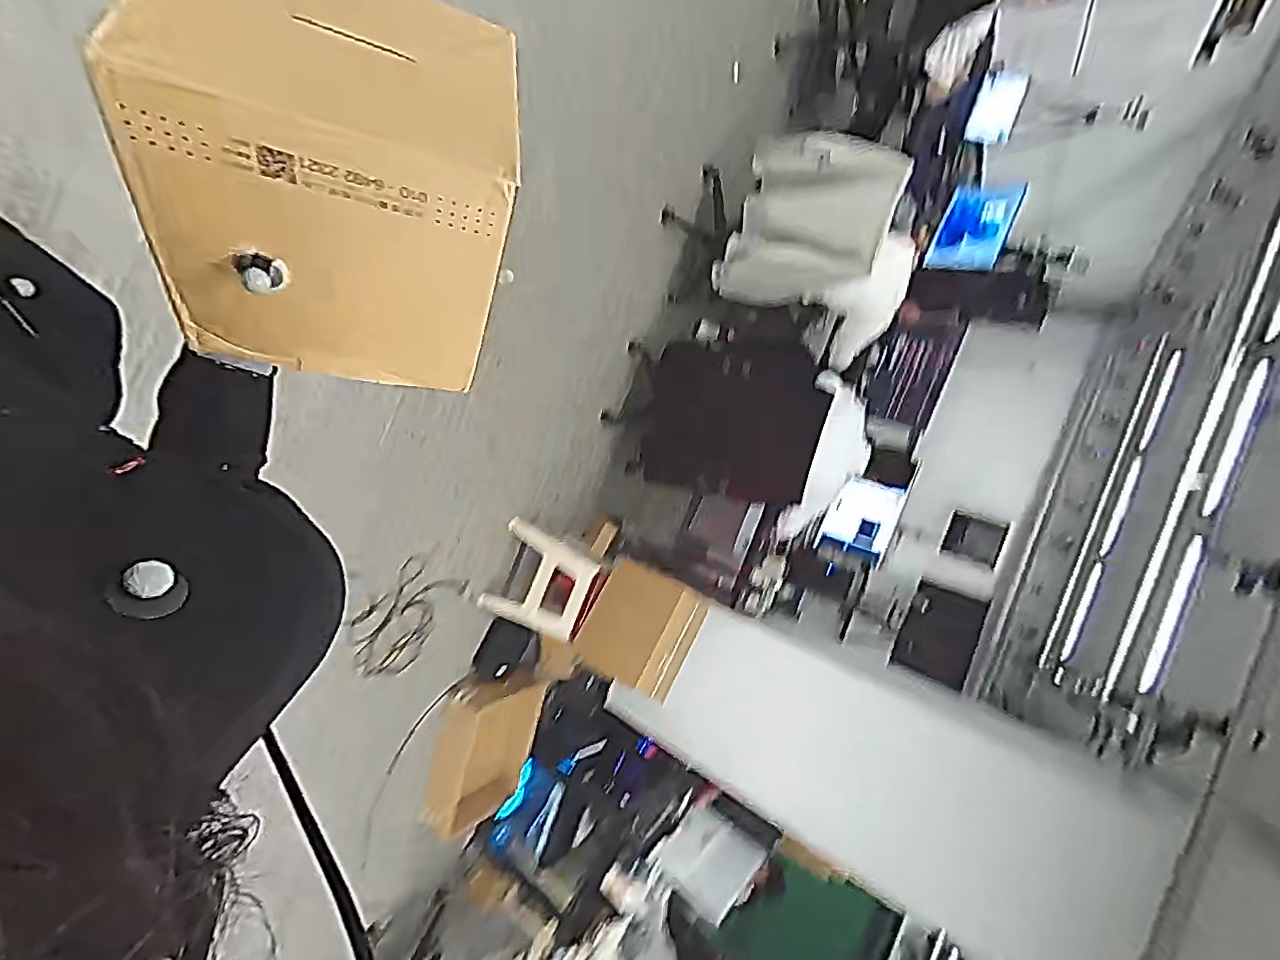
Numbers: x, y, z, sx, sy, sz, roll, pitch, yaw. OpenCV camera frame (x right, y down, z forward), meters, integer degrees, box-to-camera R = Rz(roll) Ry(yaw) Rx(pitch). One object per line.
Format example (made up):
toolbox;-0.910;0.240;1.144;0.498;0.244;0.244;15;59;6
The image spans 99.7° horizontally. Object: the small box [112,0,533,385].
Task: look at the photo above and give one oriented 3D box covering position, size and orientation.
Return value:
small box;-0.167;-0.188;0.329;0.168;0.179;0.176;7;148;-24
